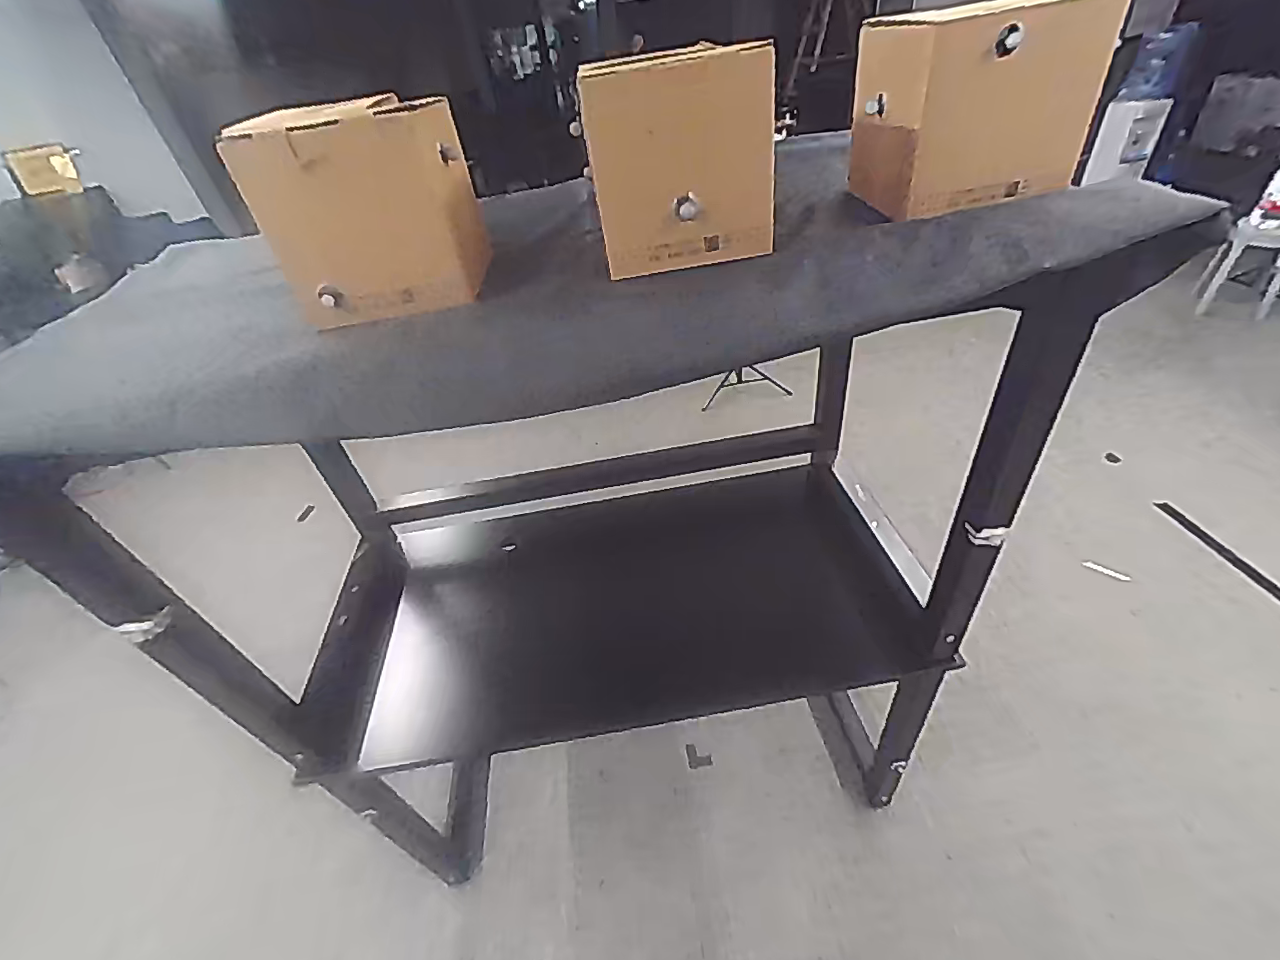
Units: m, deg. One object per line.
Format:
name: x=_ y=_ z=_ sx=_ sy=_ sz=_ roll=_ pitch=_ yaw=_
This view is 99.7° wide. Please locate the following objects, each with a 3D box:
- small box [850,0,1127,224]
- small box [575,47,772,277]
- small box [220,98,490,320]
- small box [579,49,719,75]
small box: x=0.334 y=-0.384 z=0.569 sx=0.168 sy=0.176 sz=0.179 roll=-8 pitch=38 yaw=3
small box: x=0.032 y=-0.325 z=0.557 sx=0.168 sy=0.176 sz=0.179 roll=-9 pitch=38 yaw=1
small box: x=-0.267 y=-0.276 z=0.562 sx=0.168 sy=0.176 sz=0.179 roll=-9 pitch=38 yaw=0
small box: x=0.017 y=-0.481 z=0.753 sx=0.179 sy=0.176 sz=0.168 roll=-8 pitch=39 yaw=1
